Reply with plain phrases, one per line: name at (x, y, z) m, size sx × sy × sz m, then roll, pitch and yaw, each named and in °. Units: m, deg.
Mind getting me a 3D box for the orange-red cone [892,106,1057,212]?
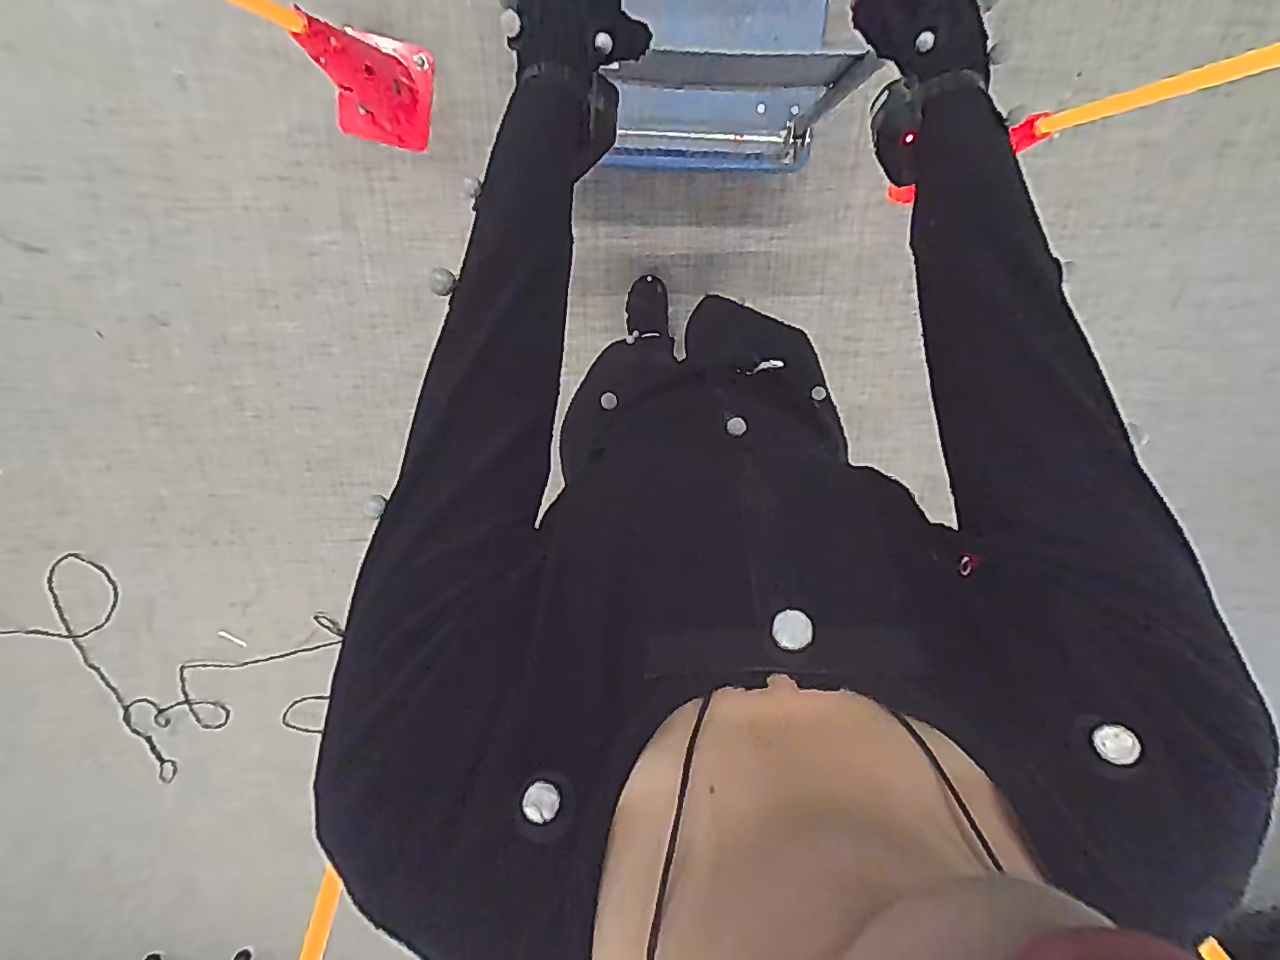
orange-red cone at (0.724, -0.699, 1.129) m, size 0.198 × 0.360 × 0.199 m, roll 10°, pitch 111°, yaw -5°
